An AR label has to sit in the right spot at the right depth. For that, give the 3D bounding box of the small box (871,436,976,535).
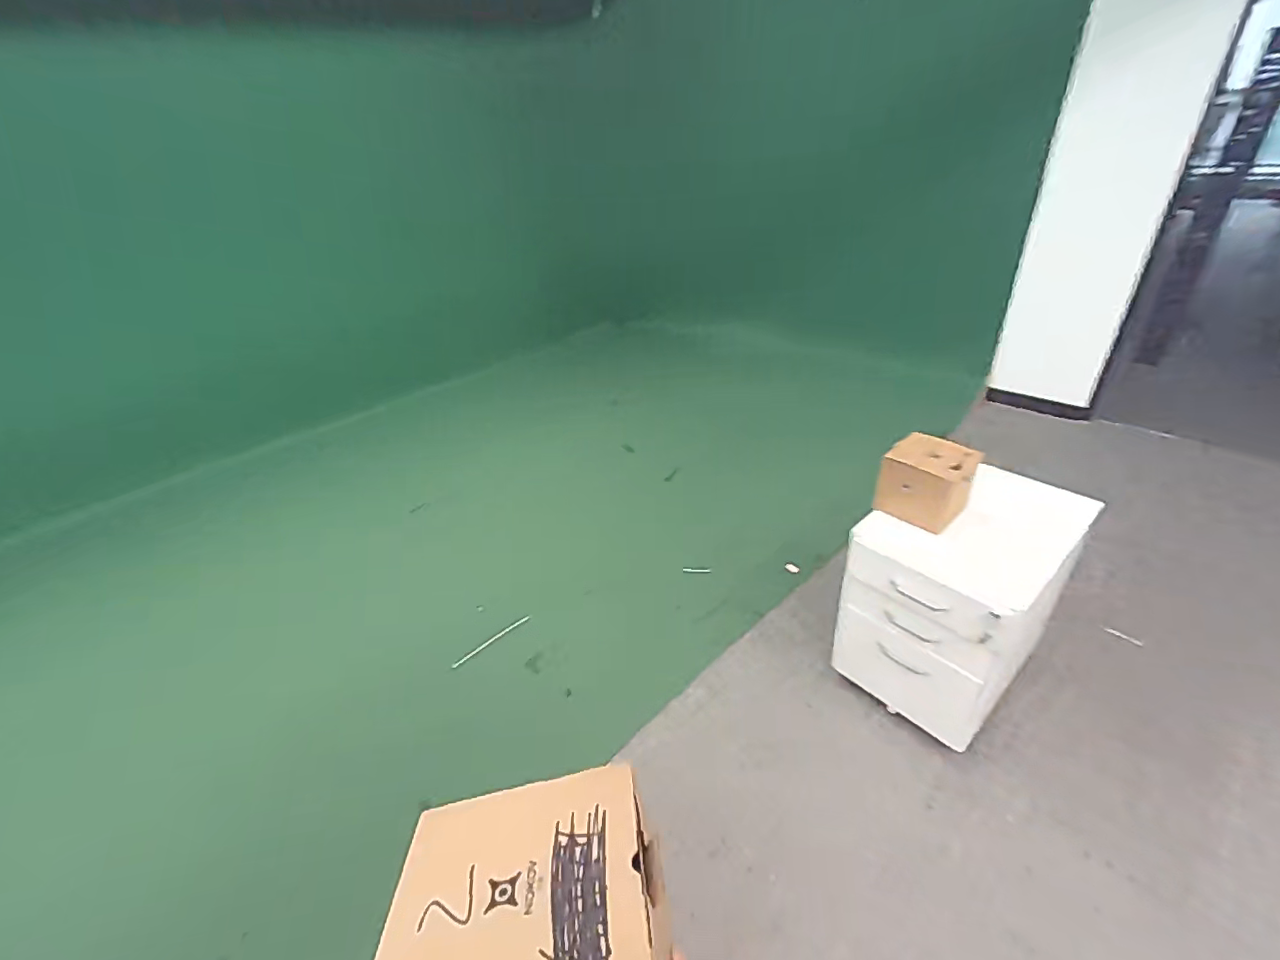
[{"bbox_3d":[0.721,0.013,1.392,0.168,0.176,0.179,-31,41,-31],"label":"small box"}]
